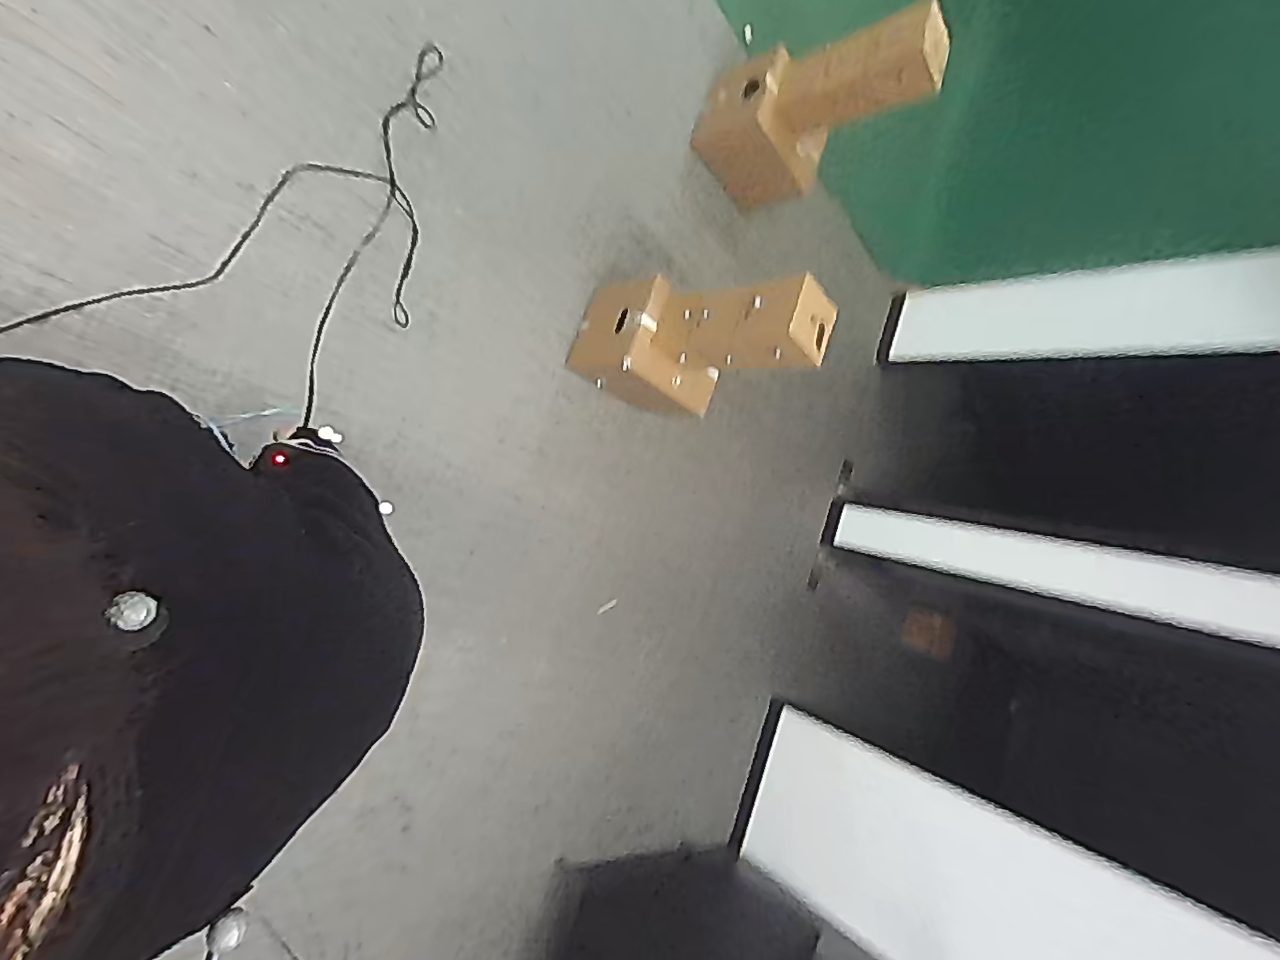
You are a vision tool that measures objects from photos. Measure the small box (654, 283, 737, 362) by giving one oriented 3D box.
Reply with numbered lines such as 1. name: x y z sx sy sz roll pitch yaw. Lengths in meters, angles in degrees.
1. small box: 0.166 -0.473 1.657 0.168 0.176 0.179 23 81 -44

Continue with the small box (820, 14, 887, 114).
1. small box: 0.712 -1.349 1.771 0.179 0.176 0.168 19 86 -45

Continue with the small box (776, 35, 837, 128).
1. small box: 0.595 -1.375 1.882 0.168 0.176 0.179 24 81 -45

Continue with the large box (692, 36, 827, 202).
1. large box: 0.468 -1.372 2.102 0.408 0.320 0.320 26 80 -45

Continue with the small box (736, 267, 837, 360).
1. small box: 0.381 -0.426 1.411 0.179 0.176 0.168 27 78 -41

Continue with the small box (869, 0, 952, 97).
1. small box: 0.825 -1.324 1.653 0.179 0.176 0.168 21 84 -44
